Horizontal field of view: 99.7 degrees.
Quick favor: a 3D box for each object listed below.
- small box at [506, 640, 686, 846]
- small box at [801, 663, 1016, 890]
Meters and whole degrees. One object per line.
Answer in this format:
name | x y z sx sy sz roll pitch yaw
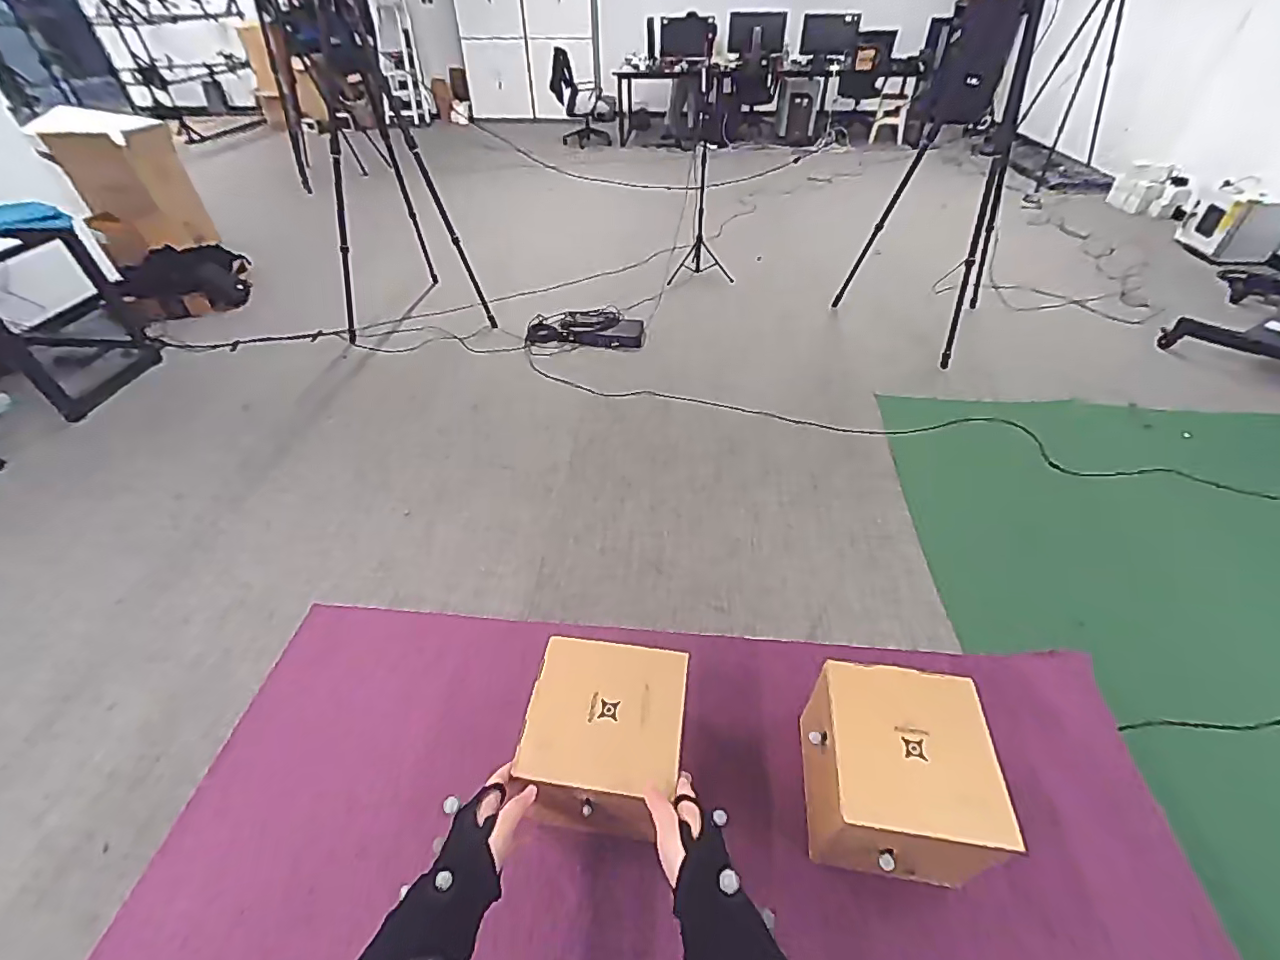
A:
small box | -0.040 0.320 0.658 0.179 0.176 0.168 6 43 7
small box | 0.286 0.342 0.624 0.168 0.176 0.179 5 42 8
